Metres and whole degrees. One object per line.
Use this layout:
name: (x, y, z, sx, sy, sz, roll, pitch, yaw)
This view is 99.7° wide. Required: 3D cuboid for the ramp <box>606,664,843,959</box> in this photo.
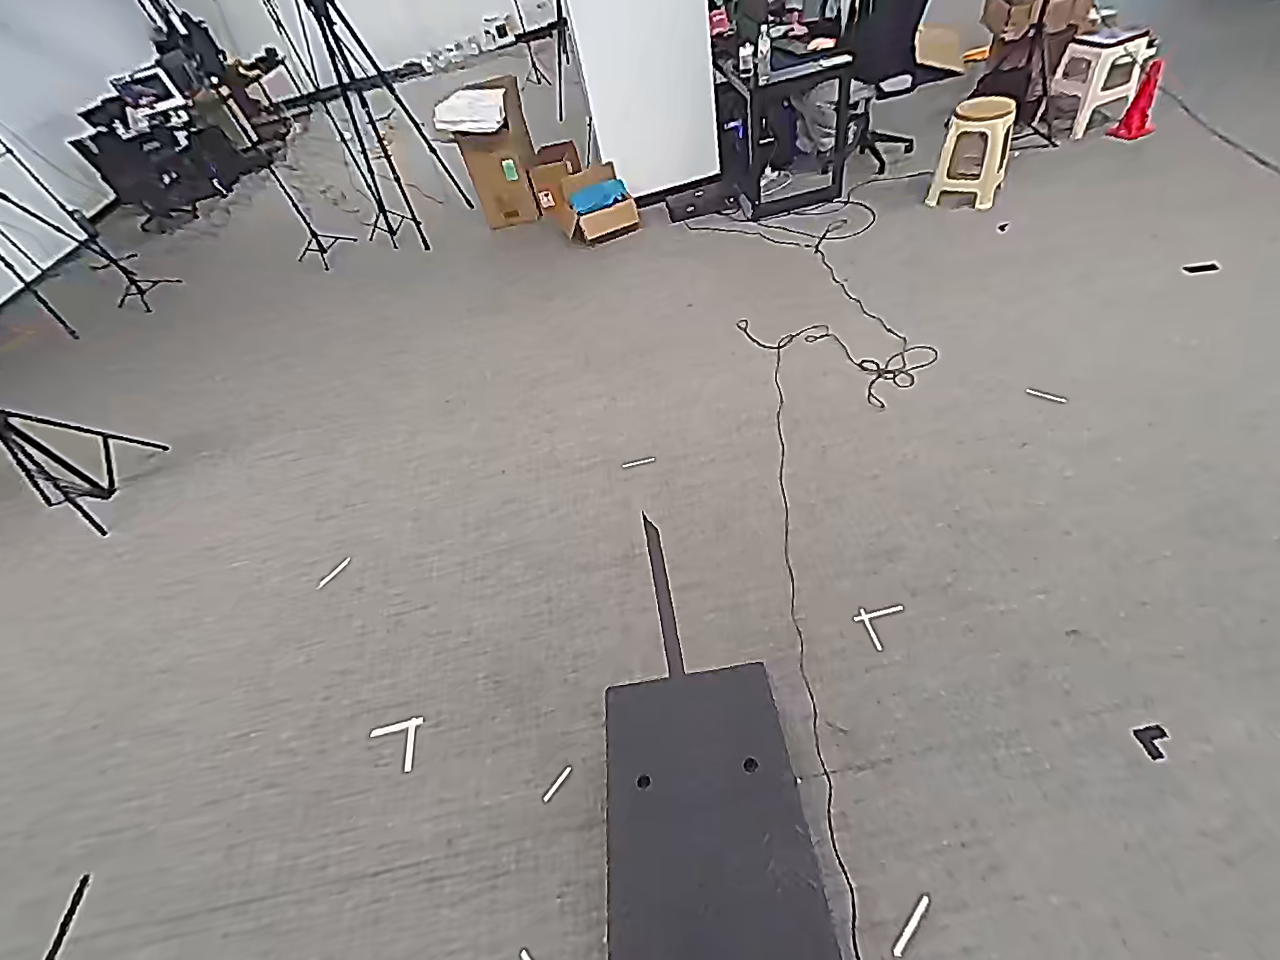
ramp: (0.160, 0.904, 1.253, 0.509, 0.206, 0.991, -13, 47, 4)
